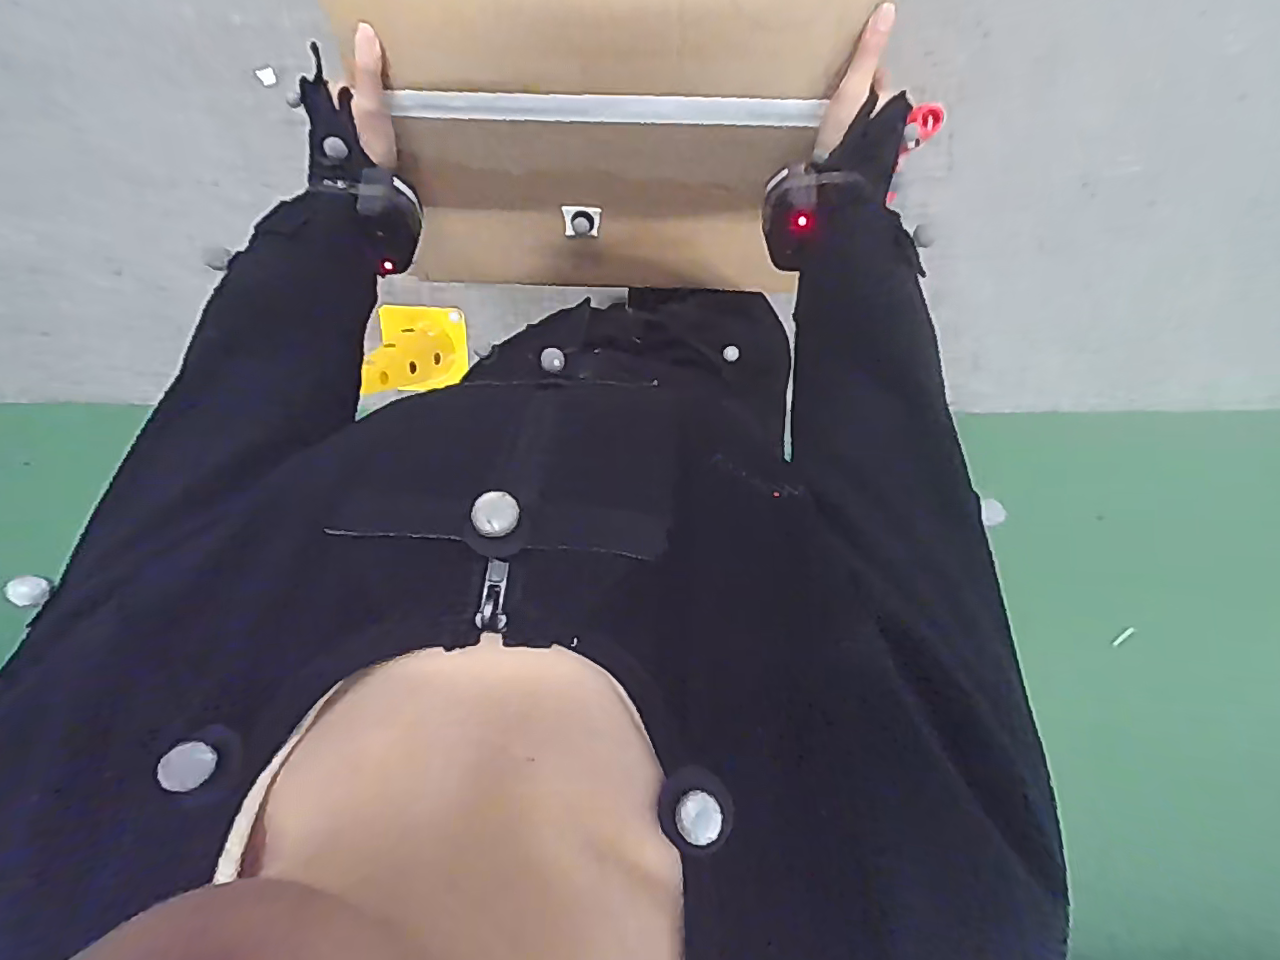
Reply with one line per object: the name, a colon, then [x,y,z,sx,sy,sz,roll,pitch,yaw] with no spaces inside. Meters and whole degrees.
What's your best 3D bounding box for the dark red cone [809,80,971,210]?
dark red cone: [0.428,-0.574,0.904,0.202,0.394,0.201,-6,116,4]
